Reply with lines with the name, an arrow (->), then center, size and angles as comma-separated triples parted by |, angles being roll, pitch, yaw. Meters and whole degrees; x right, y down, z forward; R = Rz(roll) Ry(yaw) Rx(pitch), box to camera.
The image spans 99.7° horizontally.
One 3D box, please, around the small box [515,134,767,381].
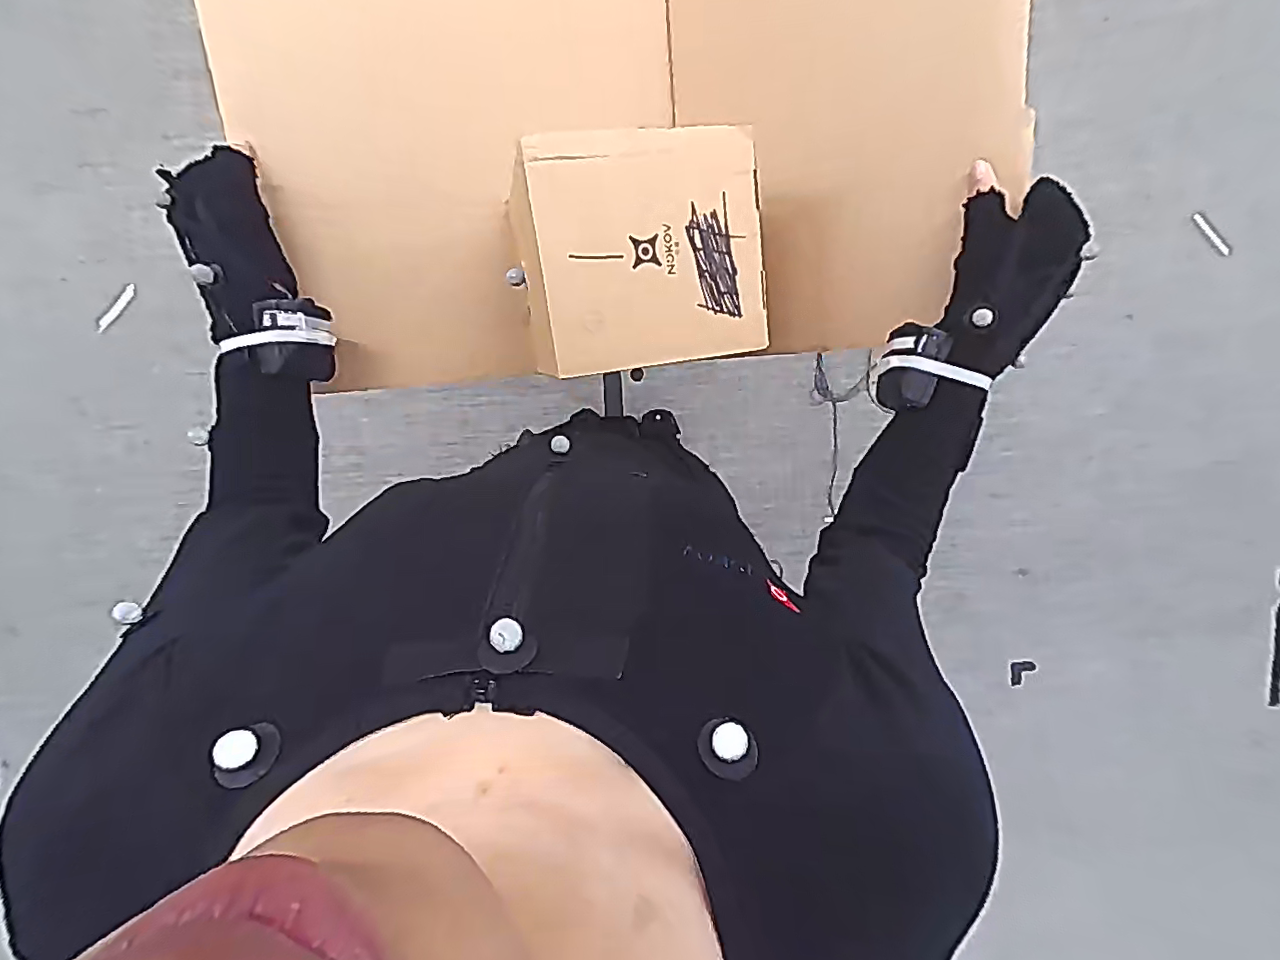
small box -> -0.007, -0.186, 0.483 | 0.179, 0.176, 0.168 | -11, 105, -13
